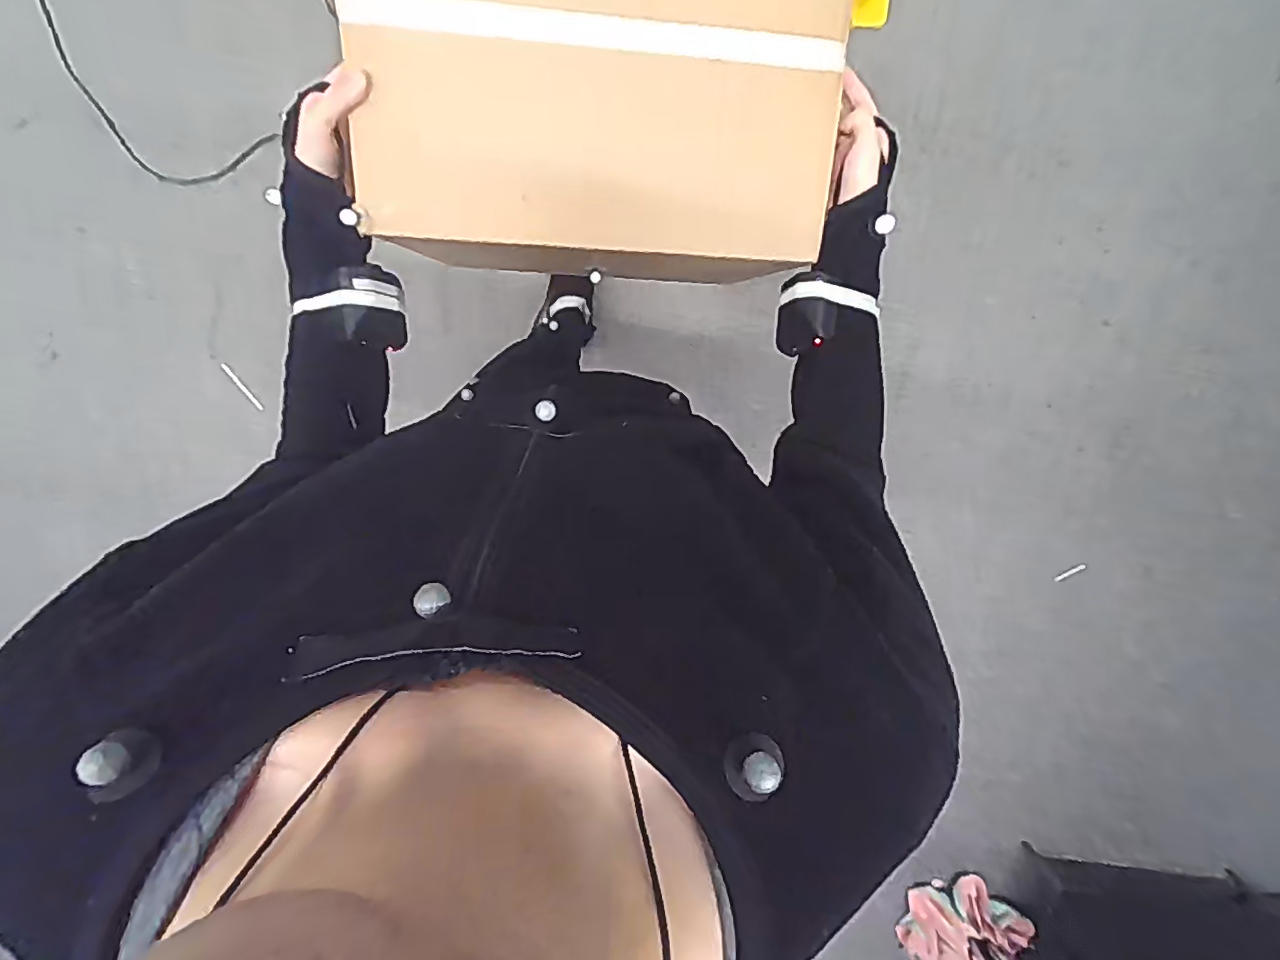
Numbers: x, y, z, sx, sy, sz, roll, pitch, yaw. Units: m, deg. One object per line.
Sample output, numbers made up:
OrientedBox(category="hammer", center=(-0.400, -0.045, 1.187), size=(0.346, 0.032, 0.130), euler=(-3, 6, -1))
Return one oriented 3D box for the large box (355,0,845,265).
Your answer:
OrientedBox(category="large box", center=(-0.039, -0.413, 0.585), size=(0.408, 0.320, 0.320), euler=(1, 106, -5))
